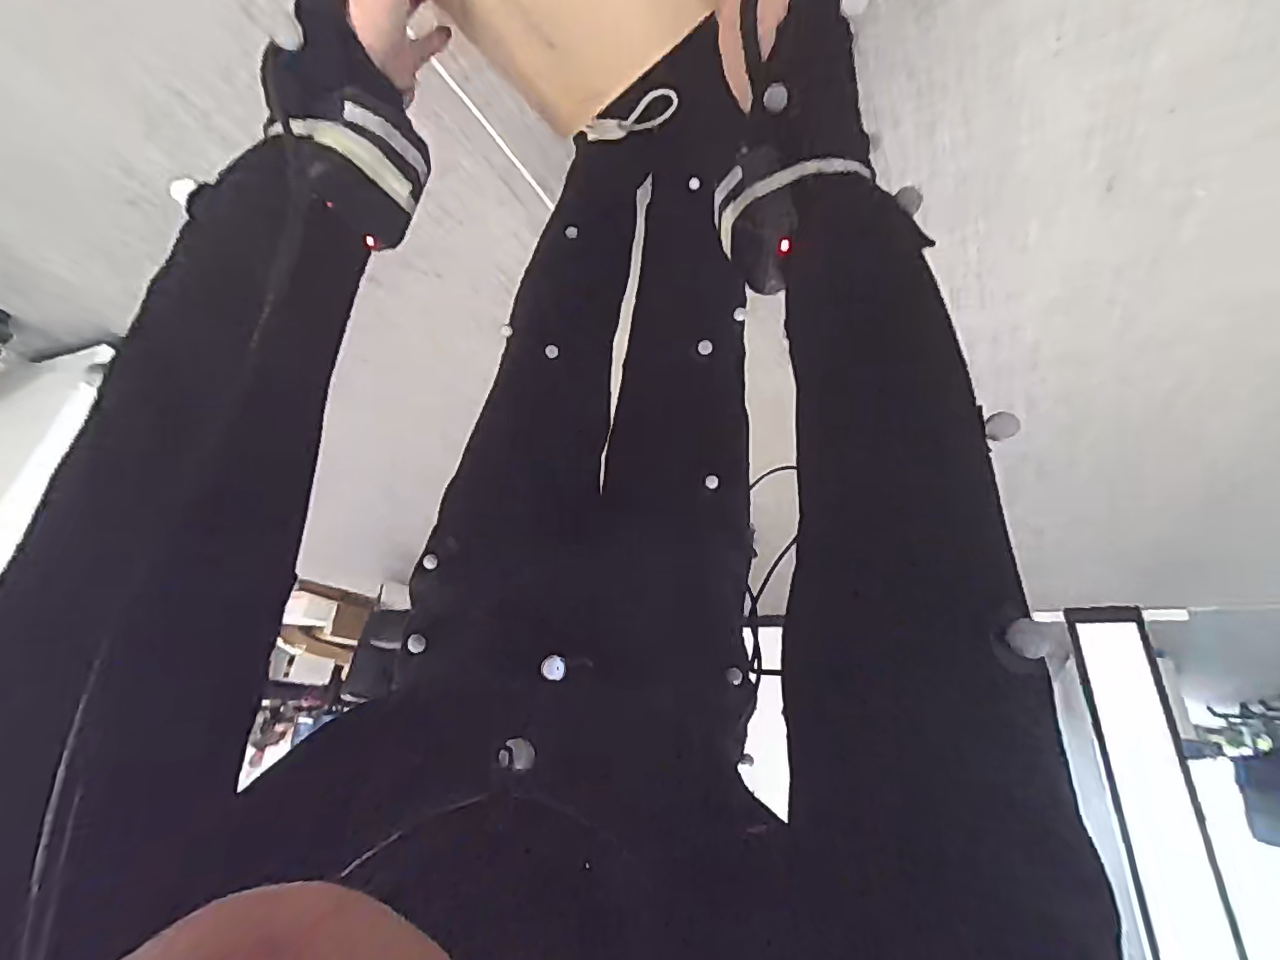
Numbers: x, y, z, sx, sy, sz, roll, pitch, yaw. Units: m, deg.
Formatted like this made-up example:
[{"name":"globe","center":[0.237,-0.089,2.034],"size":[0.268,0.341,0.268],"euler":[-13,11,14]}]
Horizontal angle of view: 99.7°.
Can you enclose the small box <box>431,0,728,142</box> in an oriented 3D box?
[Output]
[{"name":"small box","center":[-0.038,-0.387,0.356],"size":[0.179,0.176,0.168],"euler":[-15,147,39]}]
